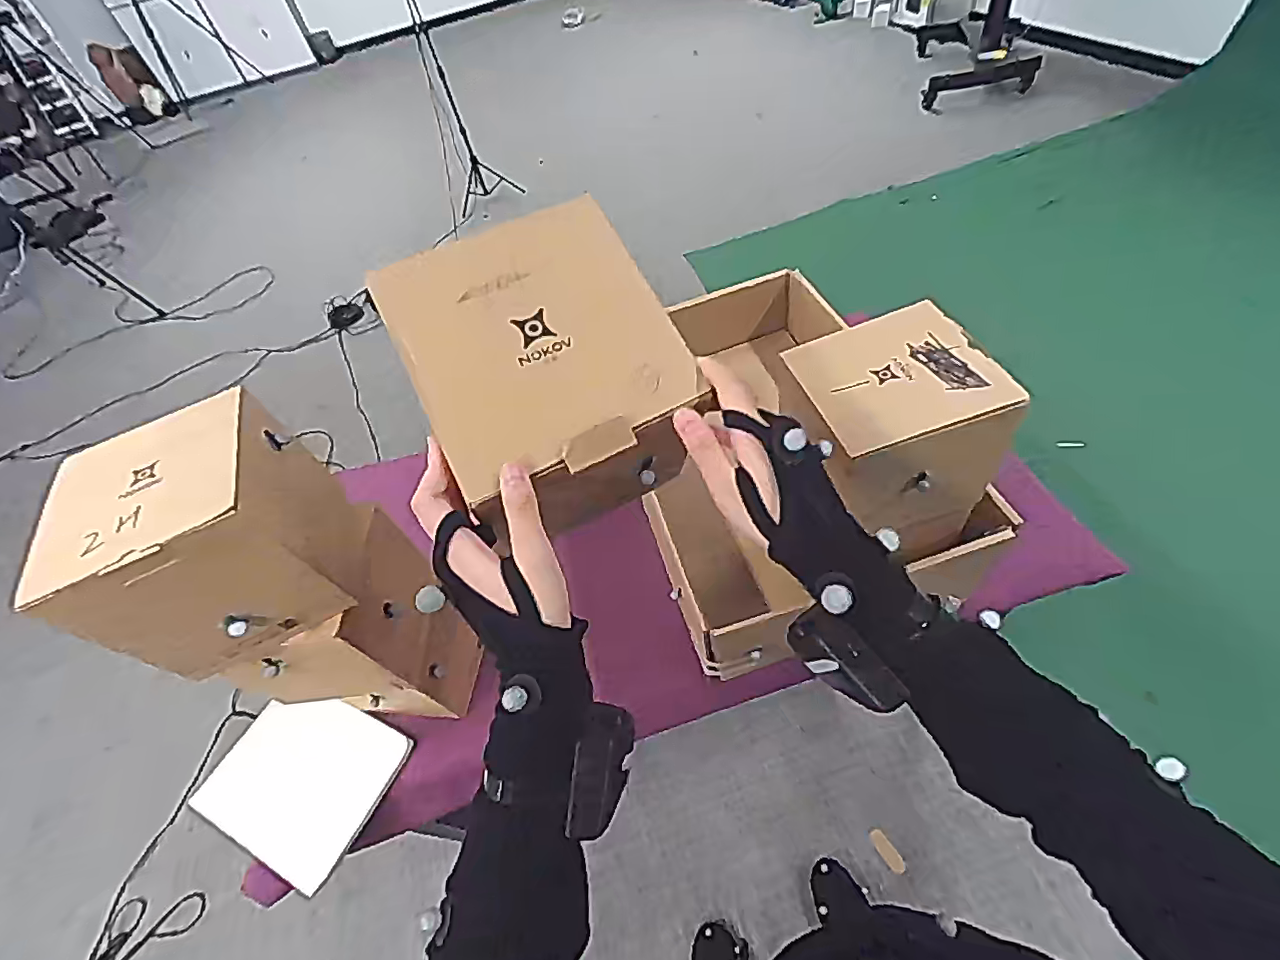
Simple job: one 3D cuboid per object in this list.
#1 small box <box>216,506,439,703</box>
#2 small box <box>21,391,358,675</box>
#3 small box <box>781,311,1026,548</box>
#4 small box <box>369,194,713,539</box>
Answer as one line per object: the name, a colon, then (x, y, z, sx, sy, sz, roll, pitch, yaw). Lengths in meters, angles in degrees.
small box: (-0.366, 0.154, 0.645, 0.179, 0.176, 0.168, -9, 51, 6)
small box: (-0.400, 0.053, 0.519, 0.168, 0.176, 0.179, -26, 52, -8)
small box: (0.268, -0.051, 0.603, 0.179, 0.176, 0.168, -18, 50, 1)
small box: (-0.068, -0.068, 0.415, 0.168, 0.176, 0.179, -26, 76, -12)
